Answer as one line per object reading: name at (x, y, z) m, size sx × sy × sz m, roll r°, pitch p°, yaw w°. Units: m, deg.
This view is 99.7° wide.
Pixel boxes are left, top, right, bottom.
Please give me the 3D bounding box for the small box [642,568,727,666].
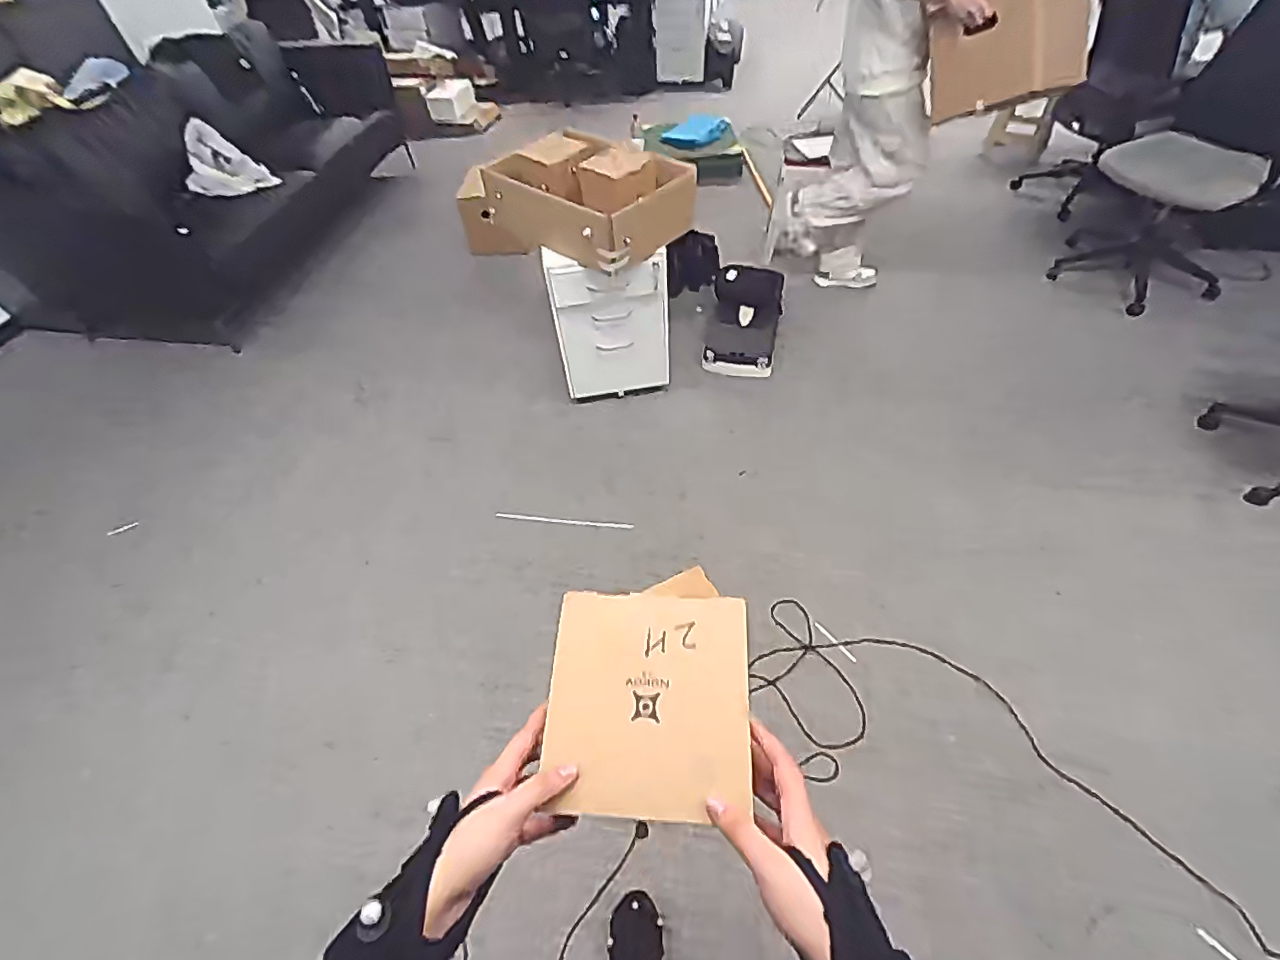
small box at (0.121, 0.380, 1.484) m, size 0.179 × 0.176 × 0.168 m, roll -23°, pitch 52°, yaw -14°
